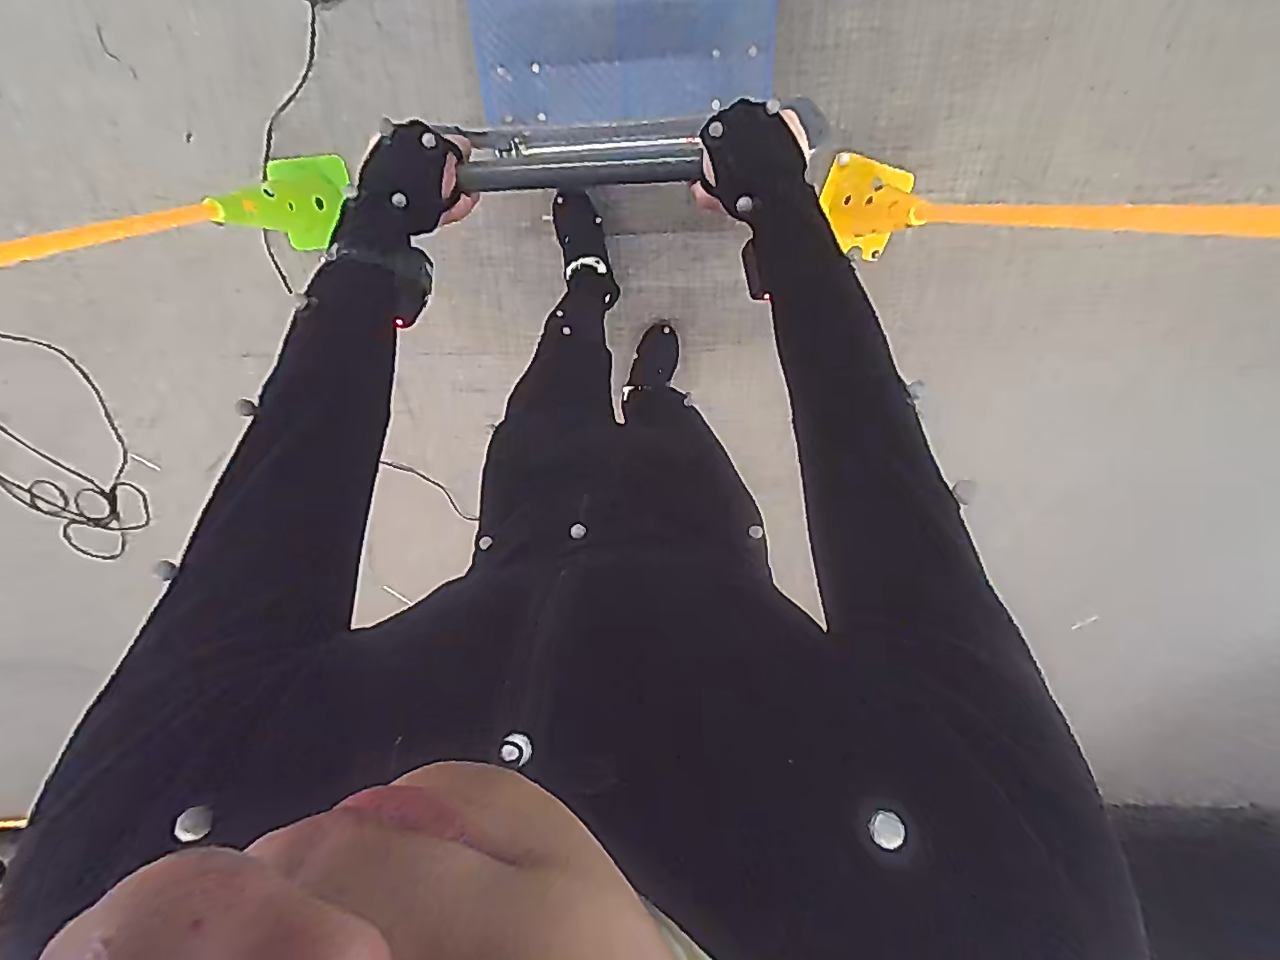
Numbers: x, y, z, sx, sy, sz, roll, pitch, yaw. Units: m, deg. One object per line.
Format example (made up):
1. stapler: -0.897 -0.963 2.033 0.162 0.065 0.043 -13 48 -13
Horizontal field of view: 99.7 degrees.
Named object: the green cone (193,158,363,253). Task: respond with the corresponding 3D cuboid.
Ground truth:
1. green cone: -0.814 -0.595 1.183 0.202 0.368 0.200 -3 118 6
